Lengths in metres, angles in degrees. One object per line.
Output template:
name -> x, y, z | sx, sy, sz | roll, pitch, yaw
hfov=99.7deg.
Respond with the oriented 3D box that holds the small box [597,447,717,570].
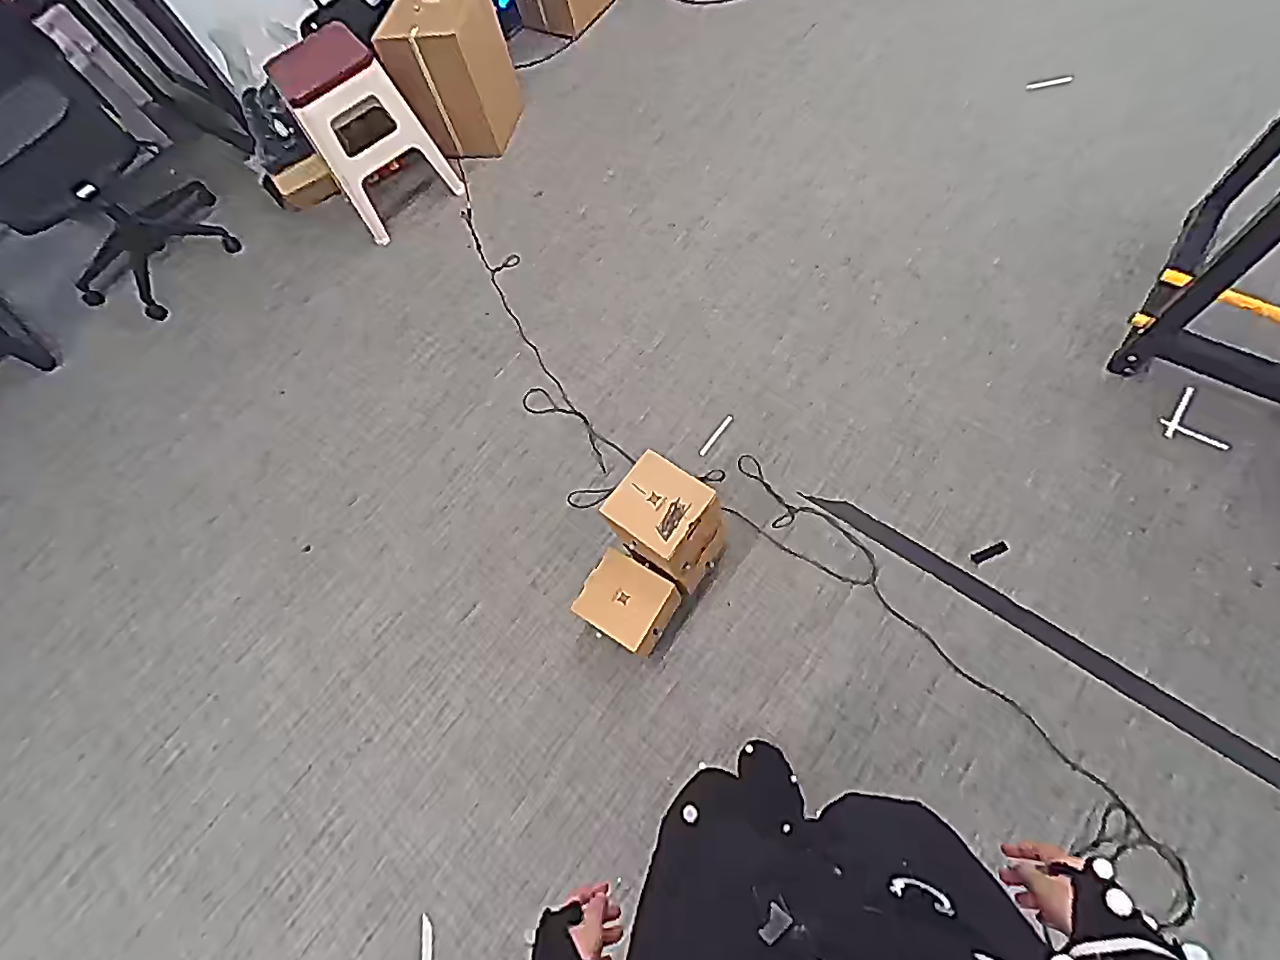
small box -> 0.045, 0.068, 1.115 | 0.179, 0.176, 0.168 | 34, 77, 22
